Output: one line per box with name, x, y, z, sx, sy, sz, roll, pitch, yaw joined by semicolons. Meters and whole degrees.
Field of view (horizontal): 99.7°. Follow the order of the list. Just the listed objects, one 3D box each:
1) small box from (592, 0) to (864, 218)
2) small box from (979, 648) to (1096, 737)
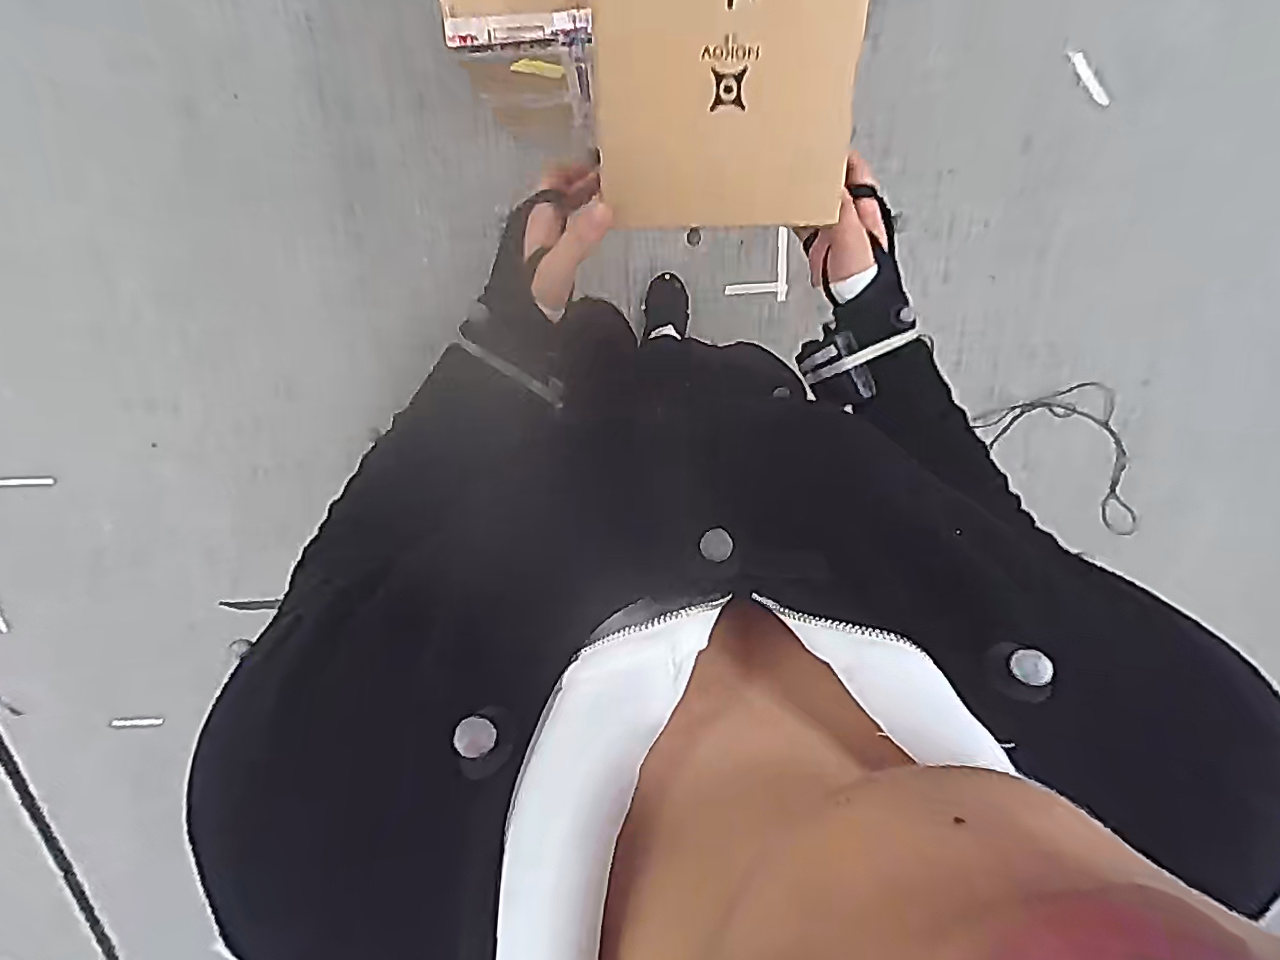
small box;0.049;-0.297;0.408;0.168;0.176;0.179;-3;115;-4
small box;1.094;0.586;1.503;0.179;0.176;0.168;3;107;-2
